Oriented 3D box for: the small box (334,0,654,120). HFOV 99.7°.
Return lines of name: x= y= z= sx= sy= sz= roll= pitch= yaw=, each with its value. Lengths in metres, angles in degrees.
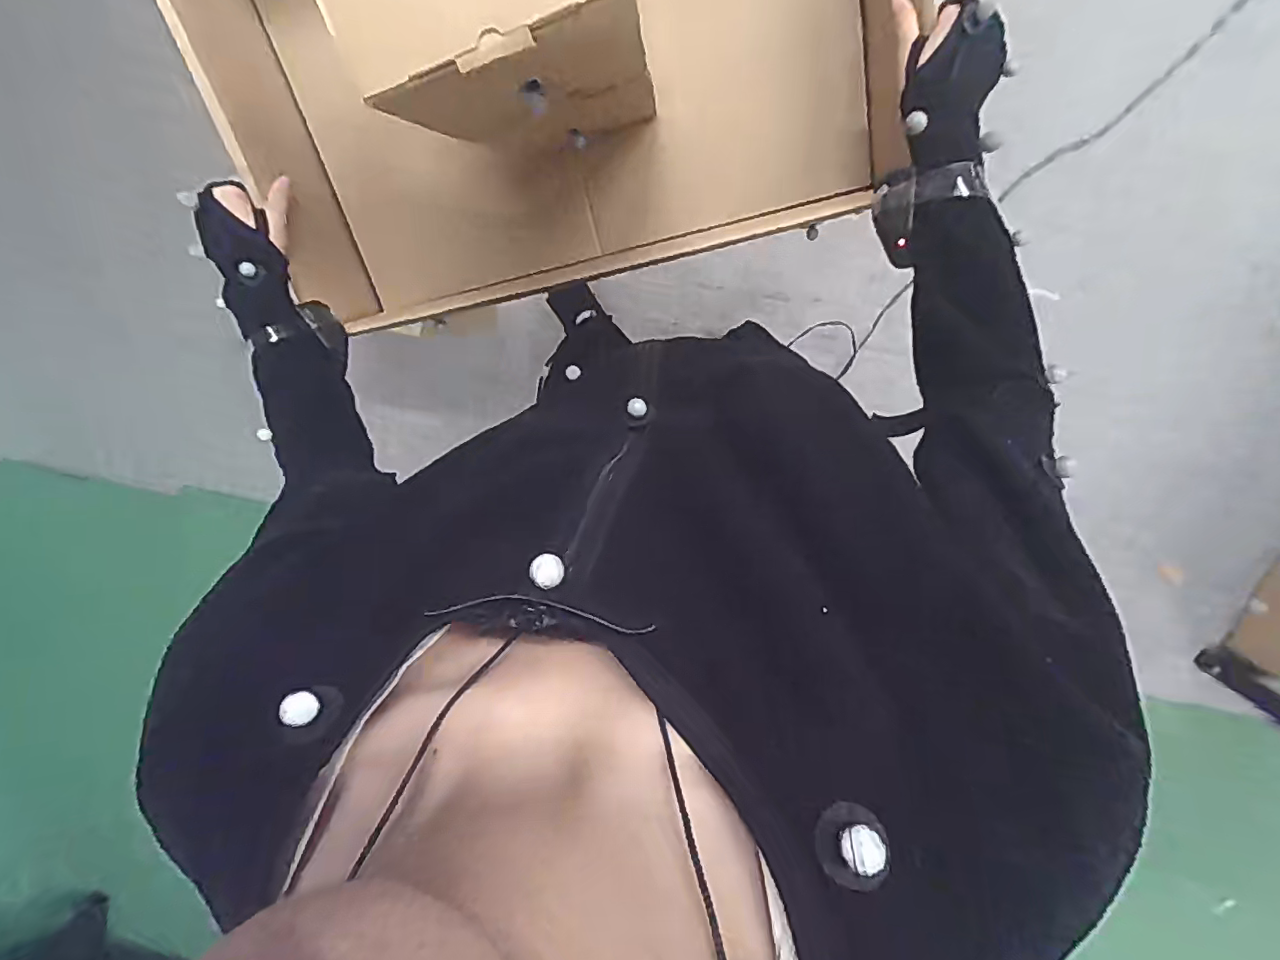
small box: x=-0.091 y=-0.344 z=0.327 sx=0.168 sy=0.176 sz=0.179 roll=-14 pitch=114 yaw=10
